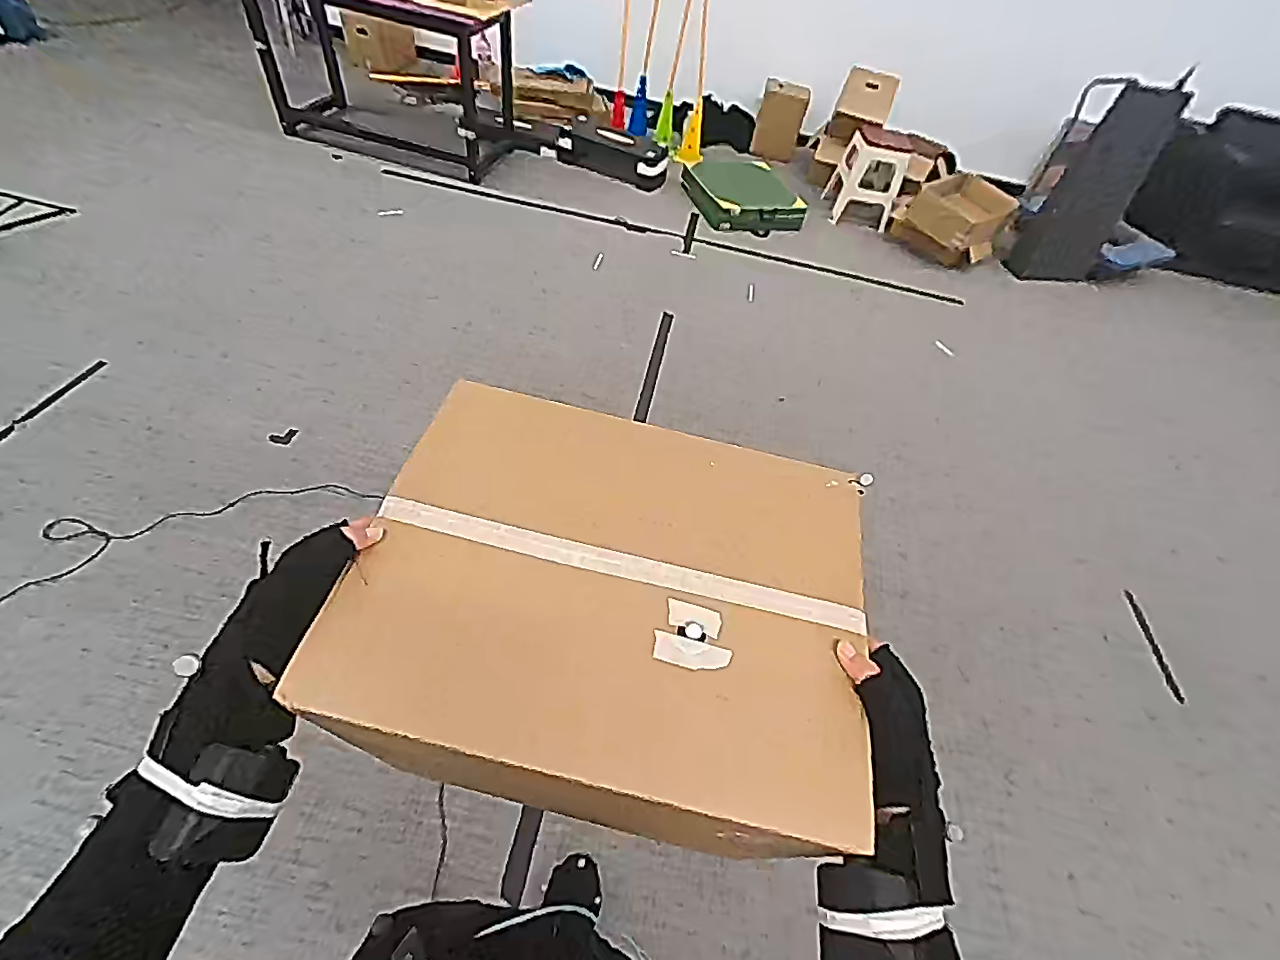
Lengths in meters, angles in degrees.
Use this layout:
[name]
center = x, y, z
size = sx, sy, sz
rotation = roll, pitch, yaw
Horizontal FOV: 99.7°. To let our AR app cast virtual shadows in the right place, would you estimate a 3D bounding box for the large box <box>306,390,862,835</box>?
[large box]
center = -0.033, 0.154, 0.578
size = 0.408, 0.320, 0.320
rotation = 14, 55, 1
